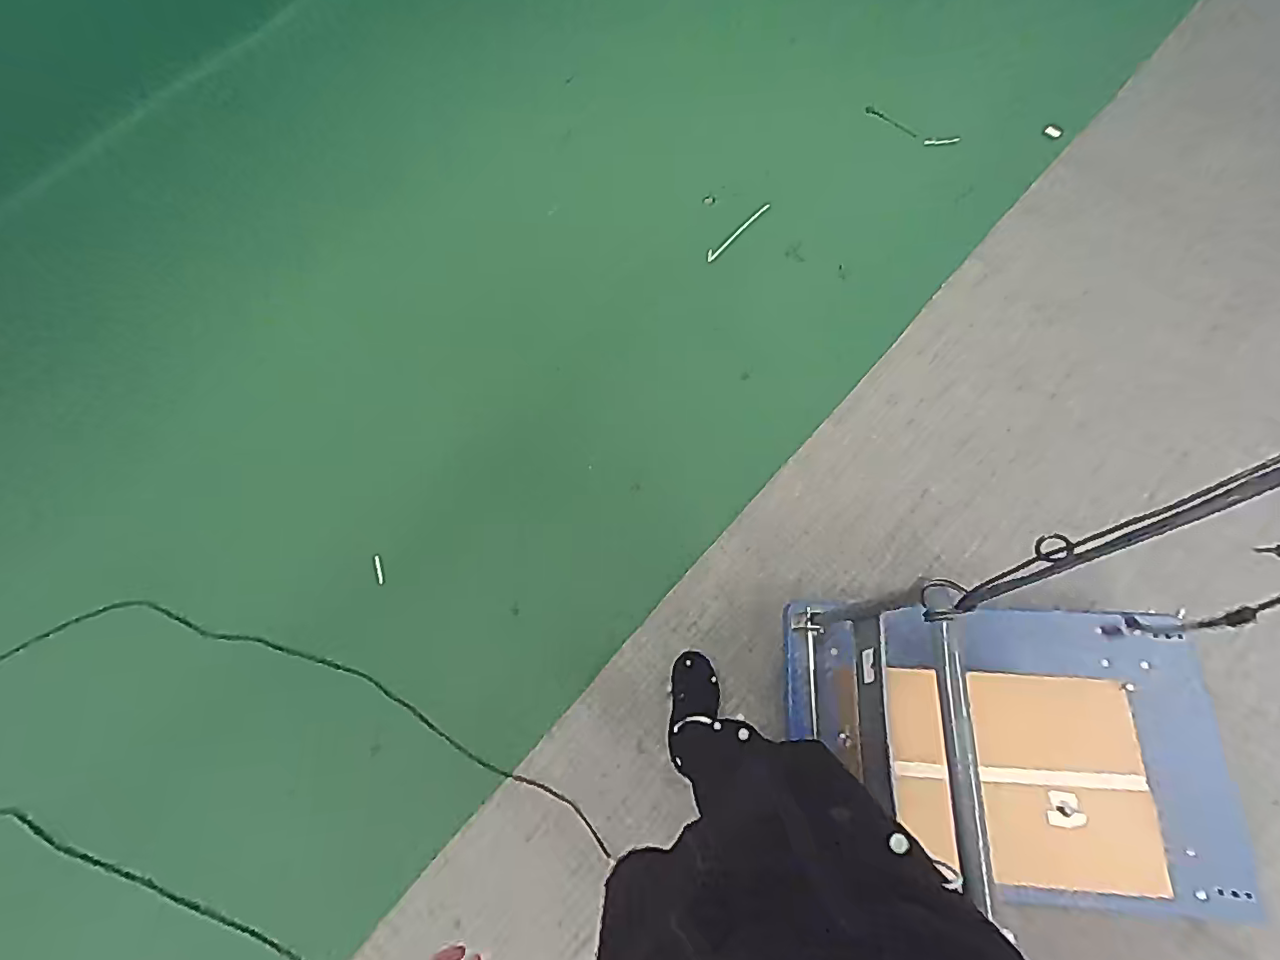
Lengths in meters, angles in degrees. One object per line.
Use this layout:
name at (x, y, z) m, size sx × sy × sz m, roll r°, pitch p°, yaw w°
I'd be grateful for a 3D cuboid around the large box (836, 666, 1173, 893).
large box at (0.621, 0.524, 1.017) m, size 0.408 × 0.320 × 0.320 m, roll 2°, pitch 71°, yaw 5°
